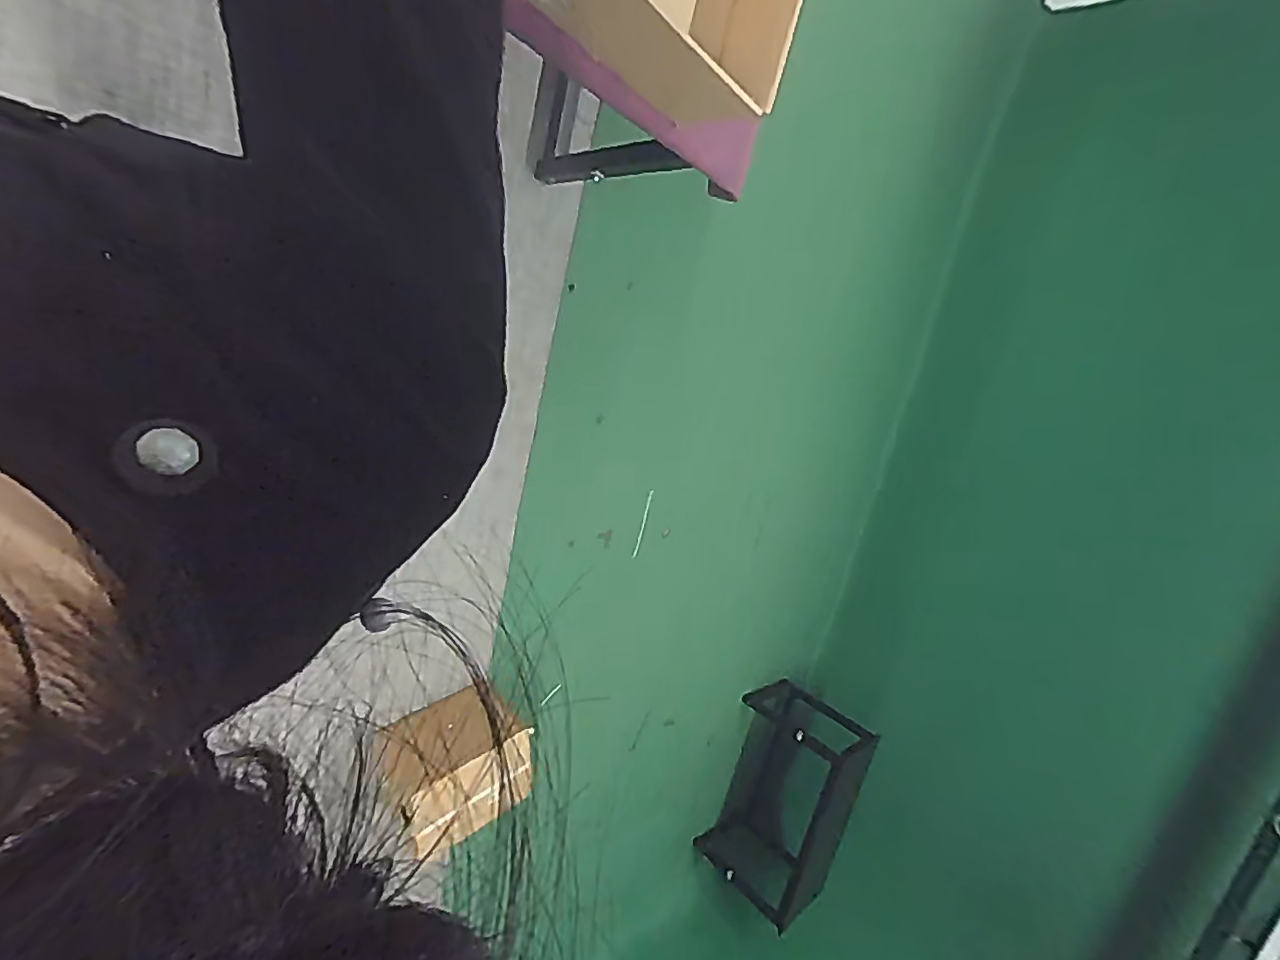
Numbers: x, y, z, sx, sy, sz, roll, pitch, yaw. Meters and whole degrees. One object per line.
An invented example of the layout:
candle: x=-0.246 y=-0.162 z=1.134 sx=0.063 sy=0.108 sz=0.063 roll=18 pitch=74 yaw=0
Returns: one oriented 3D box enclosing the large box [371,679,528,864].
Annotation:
large box: x=-0.638 y=0.963 z=1.842 sx=0.408 sy=0.320 sz=0.320 roll=-17 pitch=120 yaw=-42
